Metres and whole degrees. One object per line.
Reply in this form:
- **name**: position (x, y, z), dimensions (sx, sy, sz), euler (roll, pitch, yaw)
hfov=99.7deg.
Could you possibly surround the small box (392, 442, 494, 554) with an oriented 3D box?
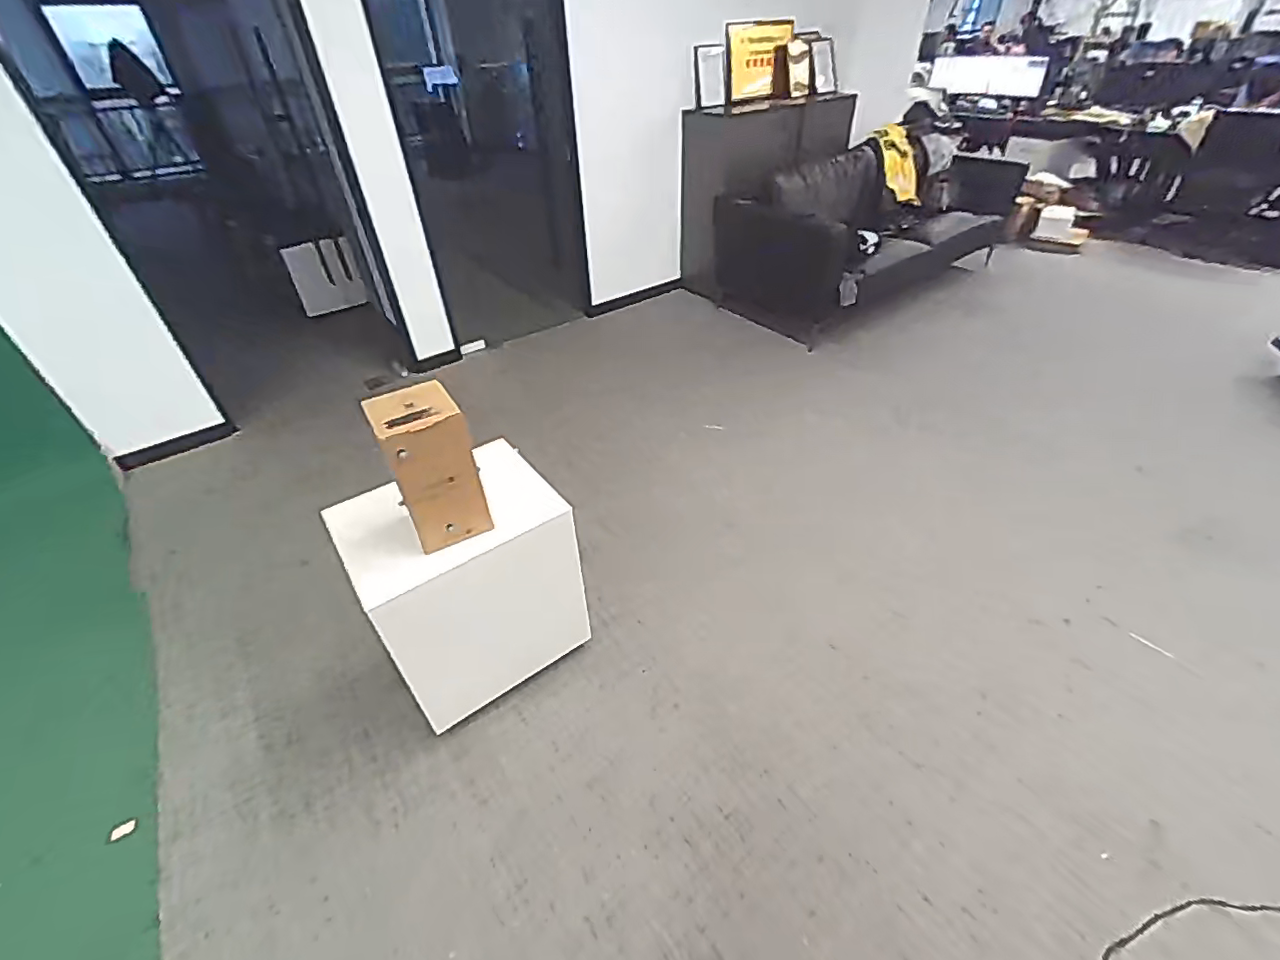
- **small box**: position (-0.463, 0.041, 1.277), dimensions (0.168, 0.176, 0.179), euler (-22, 43, -22)
